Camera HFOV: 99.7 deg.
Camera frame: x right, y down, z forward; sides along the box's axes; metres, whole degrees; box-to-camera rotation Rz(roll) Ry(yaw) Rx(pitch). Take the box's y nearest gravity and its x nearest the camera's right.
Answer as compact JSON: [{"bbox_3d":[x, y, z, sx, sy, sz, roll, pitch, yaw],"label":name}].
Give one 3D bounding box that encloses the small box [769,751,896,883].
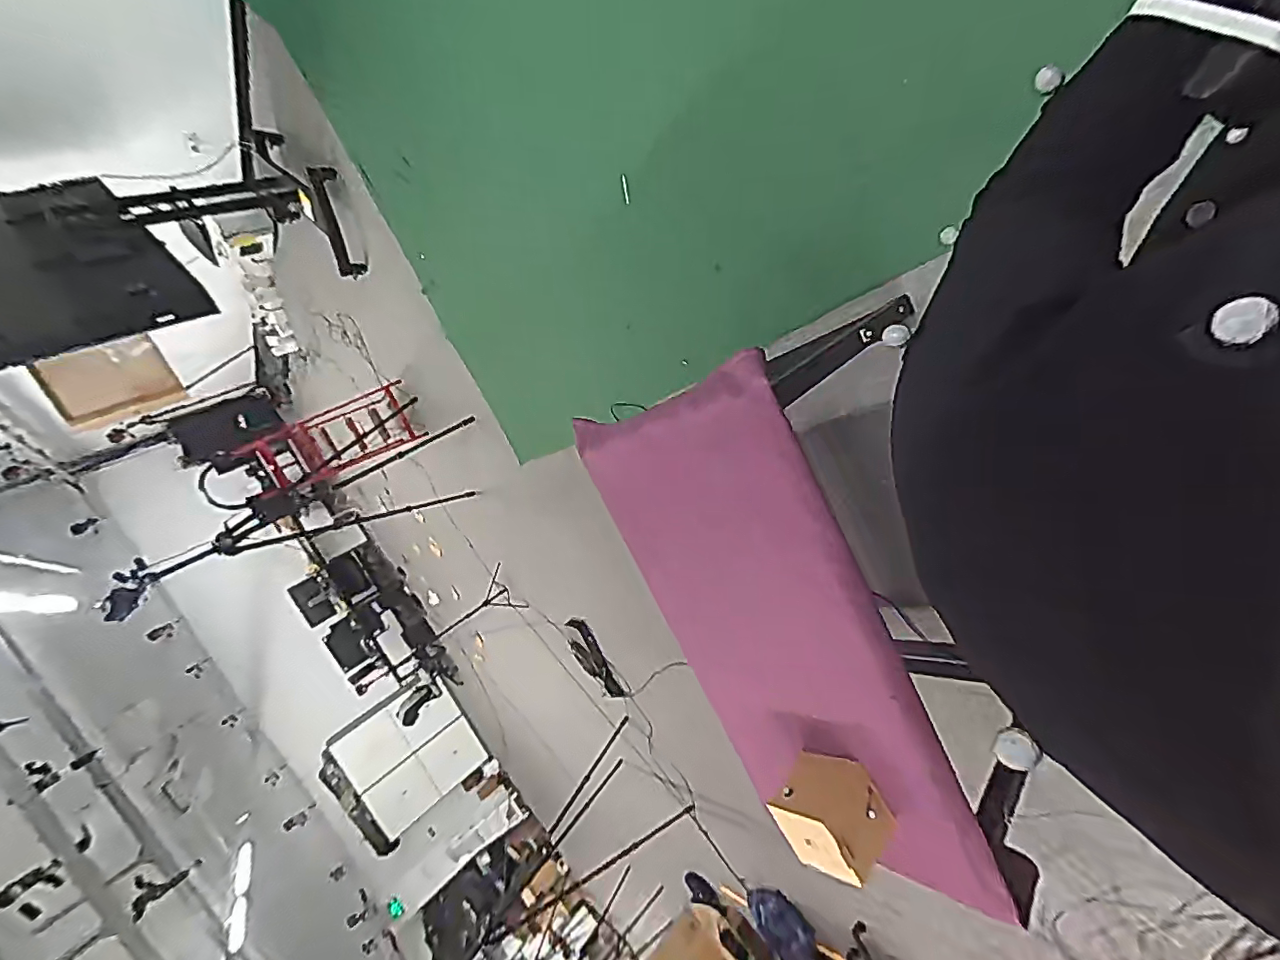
[{"bbox_3d":[0.435,0.744,1.219,0.168,0.176,0.179,59,146,-3],"label":"small box"}]
